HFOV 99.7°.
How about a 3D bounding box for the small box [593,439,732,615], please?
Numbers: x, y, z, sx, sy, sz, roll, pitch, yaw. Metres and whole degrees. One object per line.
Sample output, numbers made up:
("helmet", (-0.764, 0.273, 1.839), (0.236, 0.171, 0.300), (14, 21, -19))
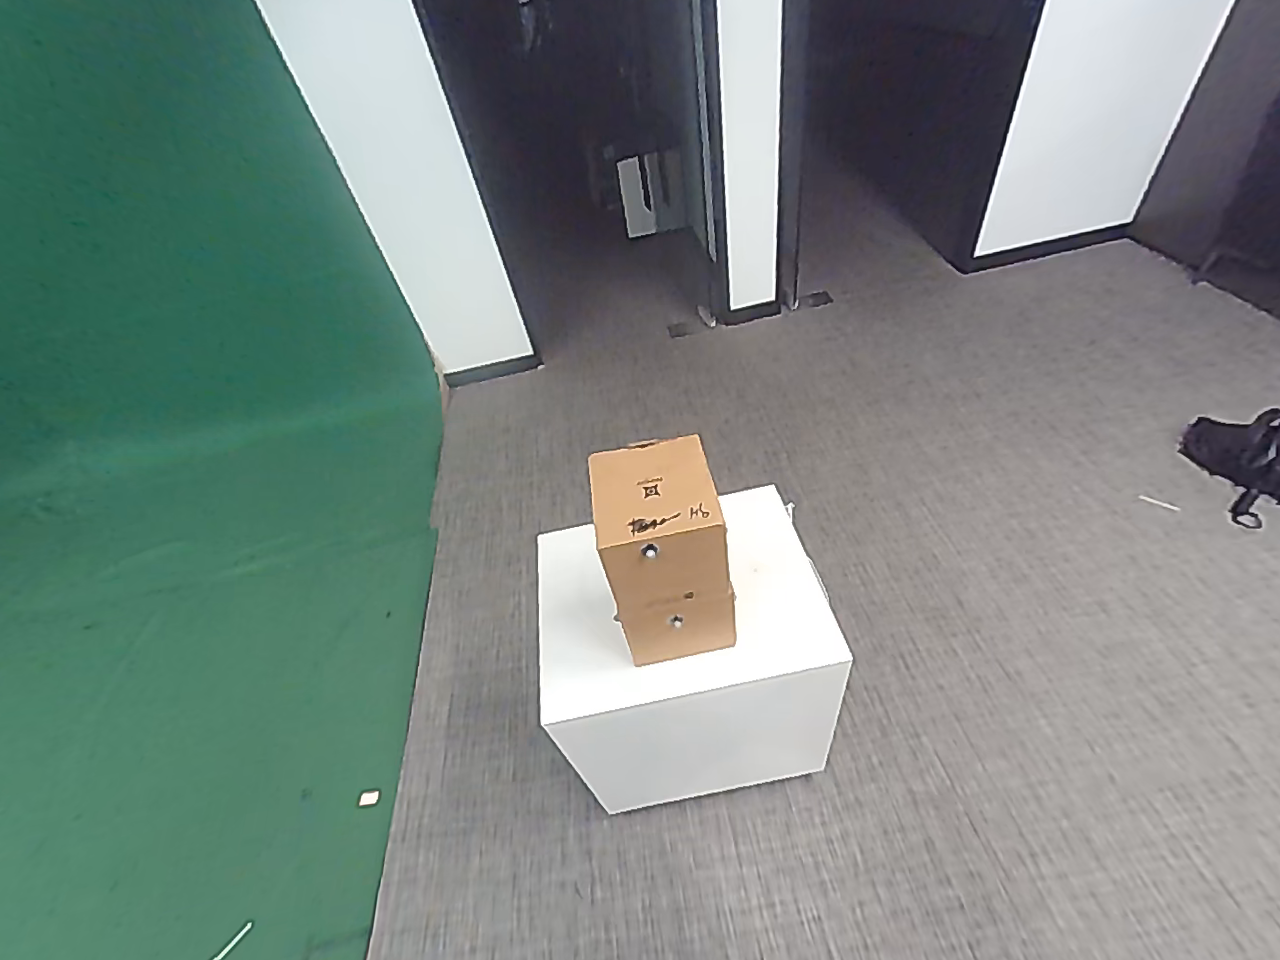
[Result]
("small box", (0.032, 0.070, 0.796), (0.168, 0.176, 0.179), (-12, 45, -1))

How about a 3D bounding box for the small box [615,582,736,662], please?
("small box", (0.056, 0.185, 0.908), (0.179, 0.176, 0.168), (-12, 45, 0))
